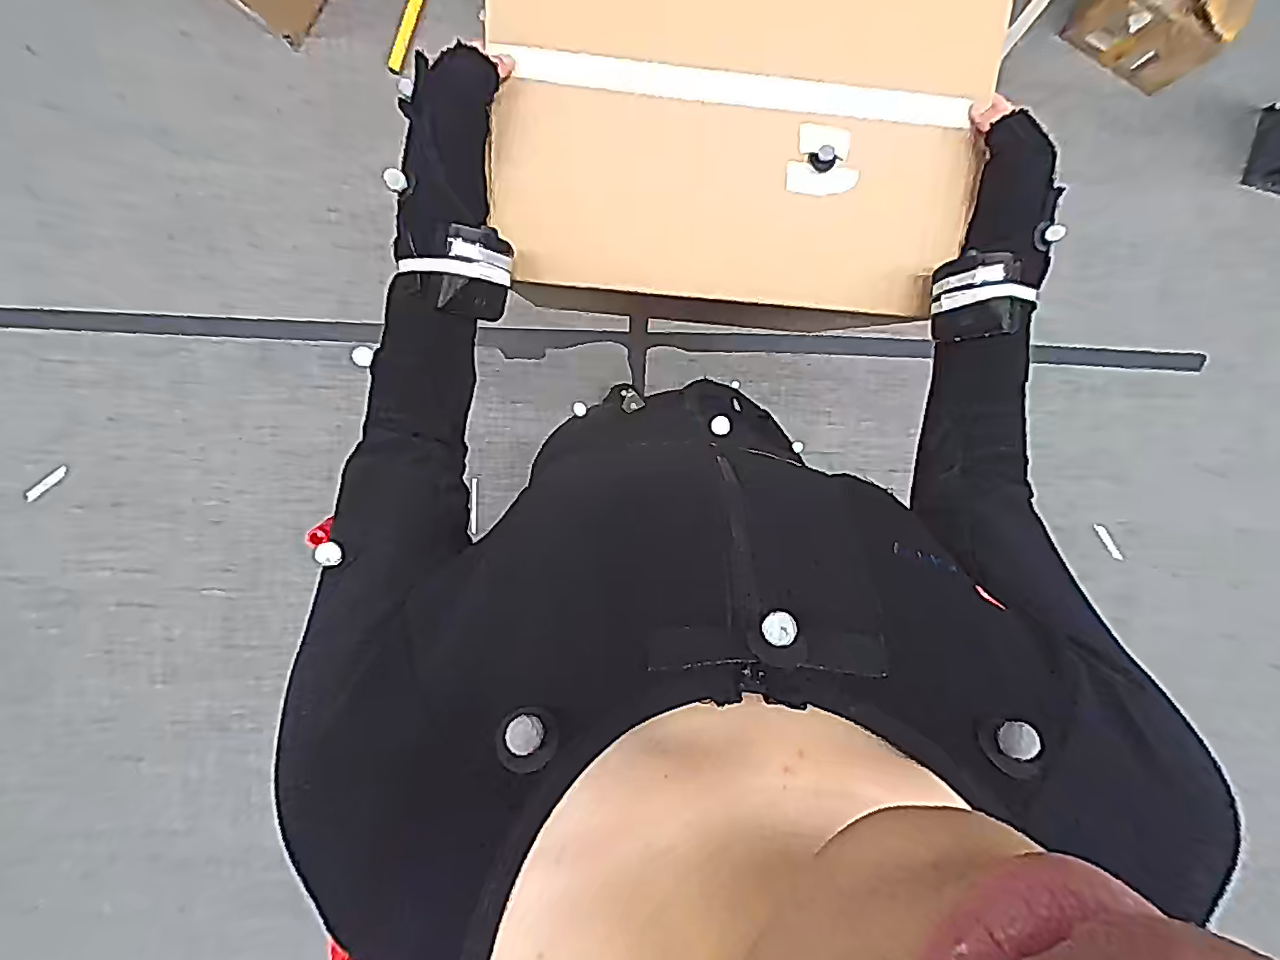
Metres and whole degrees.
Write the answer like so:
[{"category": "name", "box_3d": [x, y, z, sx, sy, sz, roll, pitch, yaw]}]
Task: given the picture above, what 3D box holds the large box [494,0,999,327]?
[{"category": "large box", "box_3d": [0.071, -0.344, 0.579, 0.408, 0.320, 0.320, 3, 103, -5]}]
